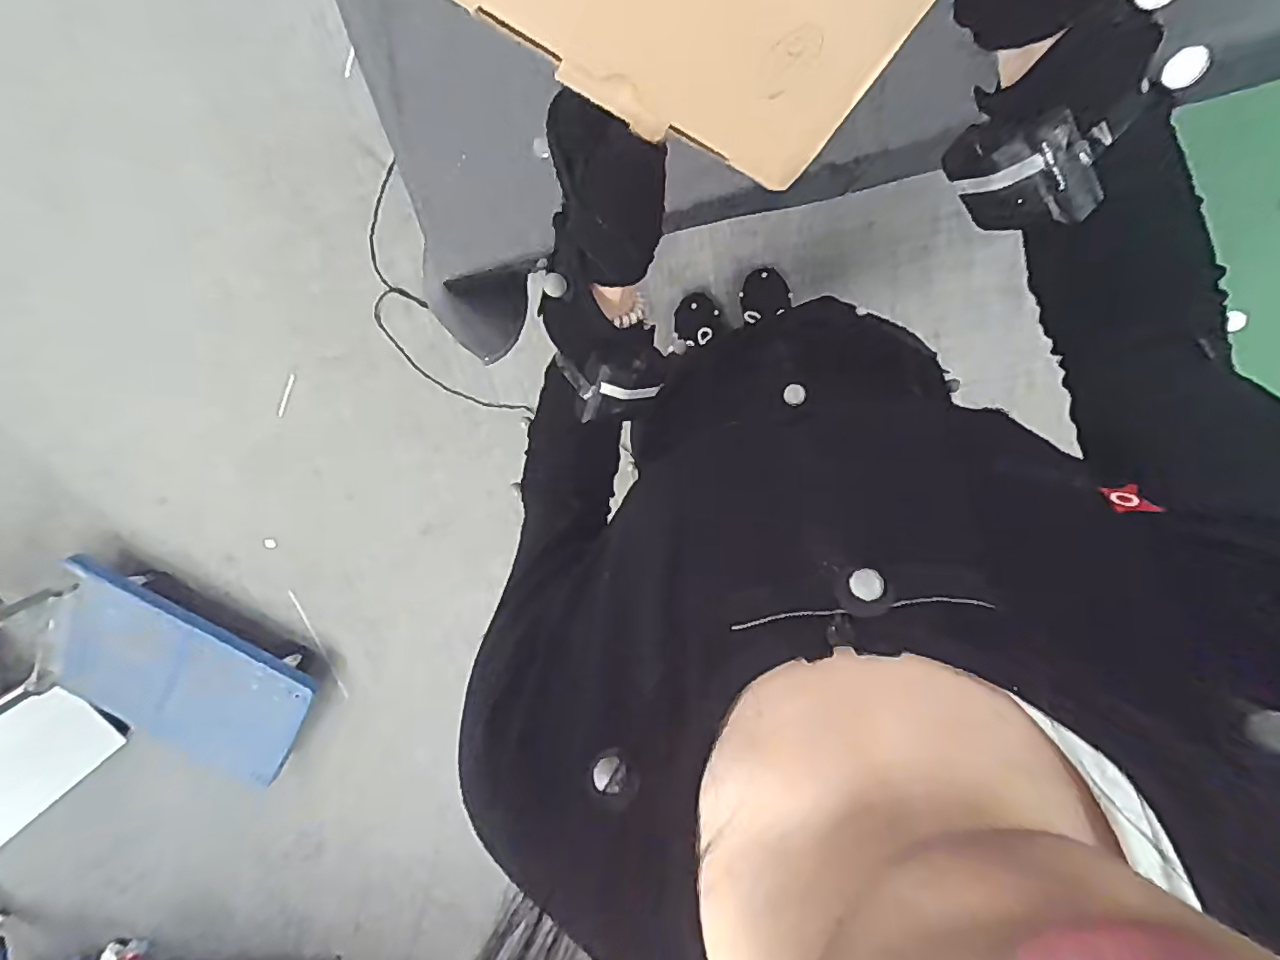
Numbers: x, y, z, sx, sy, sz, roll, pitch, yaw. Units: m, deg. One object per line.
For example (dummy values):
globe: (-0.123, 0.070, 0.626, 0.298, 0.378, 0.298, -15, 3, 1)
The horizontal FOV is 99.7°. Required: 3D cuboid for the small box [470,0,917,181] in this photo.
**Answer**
small box: (0.023, -0.256, 0.182, 0.168, 0.176, 0.179, 12, 142, -29)
